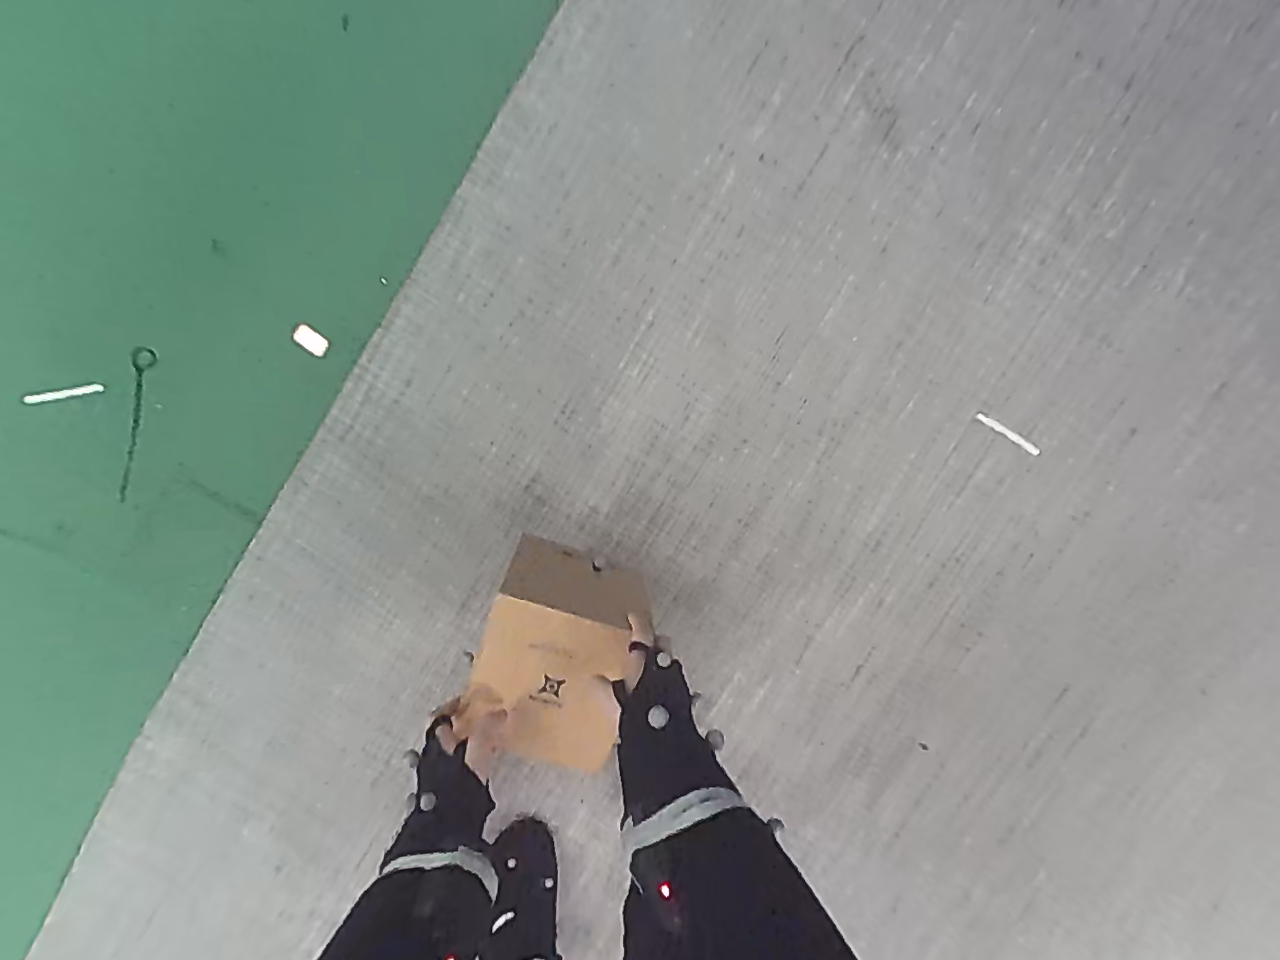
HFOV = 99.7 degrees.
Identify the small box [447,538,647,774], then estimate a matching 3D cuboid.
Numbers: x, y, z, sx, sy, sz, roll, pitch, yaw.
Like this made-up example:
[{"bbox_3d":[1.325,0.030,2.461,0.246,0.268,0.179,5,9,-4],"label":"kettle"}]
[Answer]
[{"bbox_3d":[-0.101,0.194,0.633,0.168,0.176,0.179,20,103,-9],"label":"small box"}]
